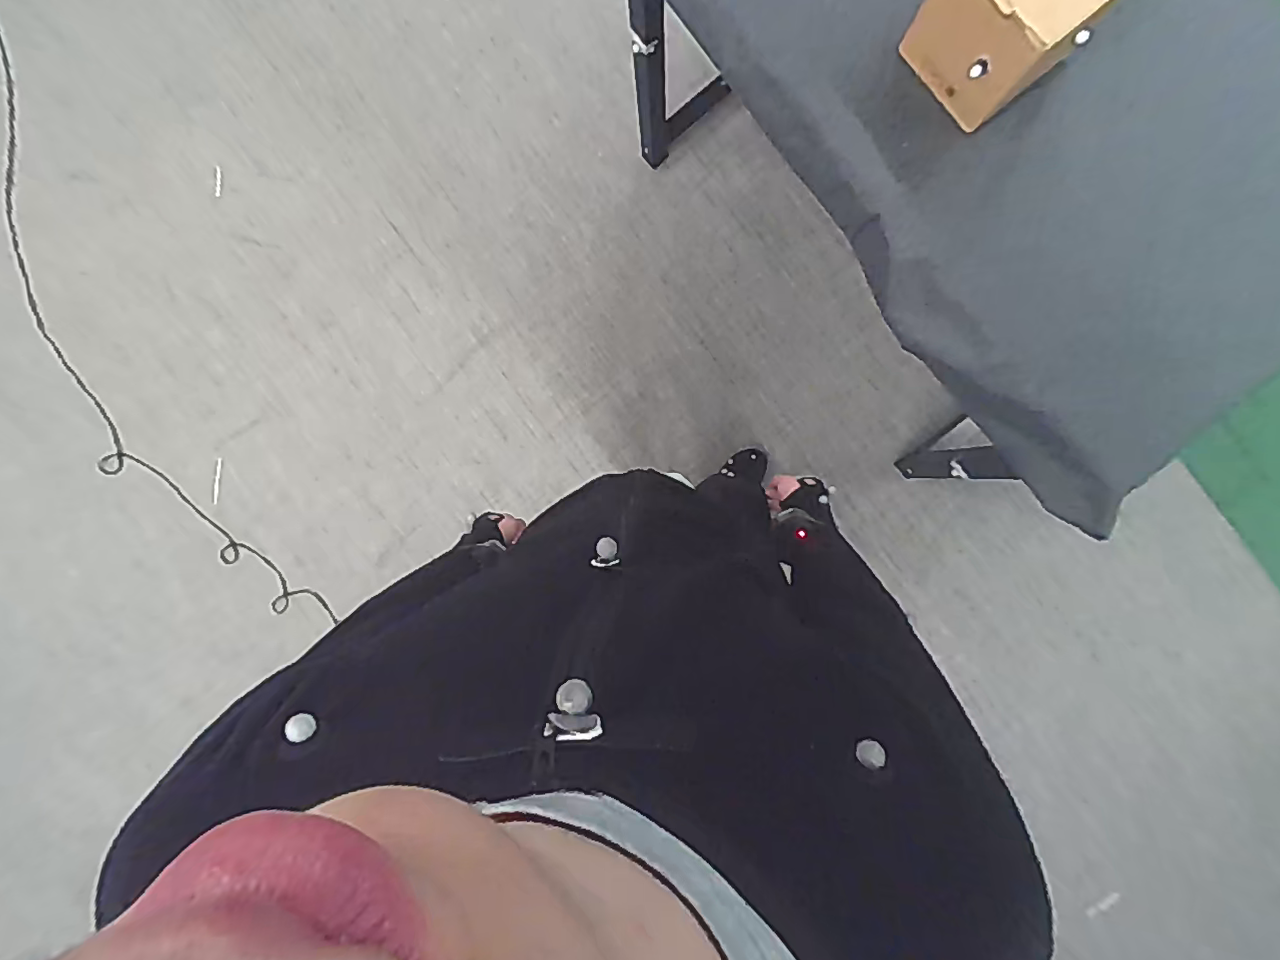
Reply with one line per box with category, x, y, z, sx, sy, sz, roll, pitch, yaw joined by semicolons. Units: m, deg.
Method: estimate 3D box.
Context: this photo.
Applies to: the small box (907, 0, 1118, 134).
small box;0.489;-0.615;0.716;0.179;0.176;0.168;-39;90;2
